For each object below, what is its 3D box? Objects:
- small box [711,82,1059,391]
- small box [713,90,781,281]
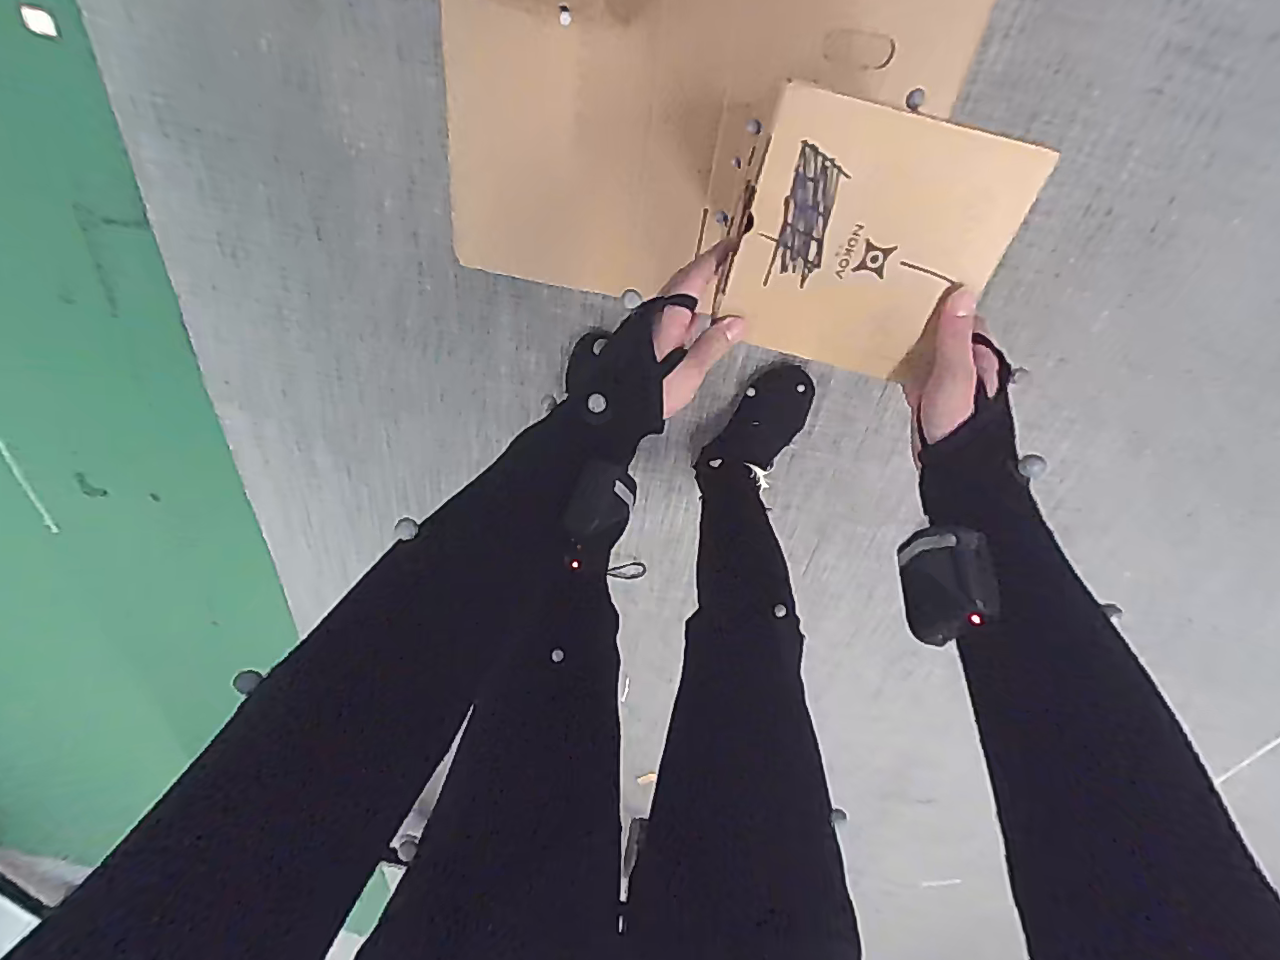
[{"bbox_3d":[0.167,-0.199,0.438,0.179,0.176,0.168,15,126,0],"label":"small box"},{"bbox_3d":[0.187,-0.289,0.573,0.179,0.176,0.168,15,126,-1],"label":"small box"}]
